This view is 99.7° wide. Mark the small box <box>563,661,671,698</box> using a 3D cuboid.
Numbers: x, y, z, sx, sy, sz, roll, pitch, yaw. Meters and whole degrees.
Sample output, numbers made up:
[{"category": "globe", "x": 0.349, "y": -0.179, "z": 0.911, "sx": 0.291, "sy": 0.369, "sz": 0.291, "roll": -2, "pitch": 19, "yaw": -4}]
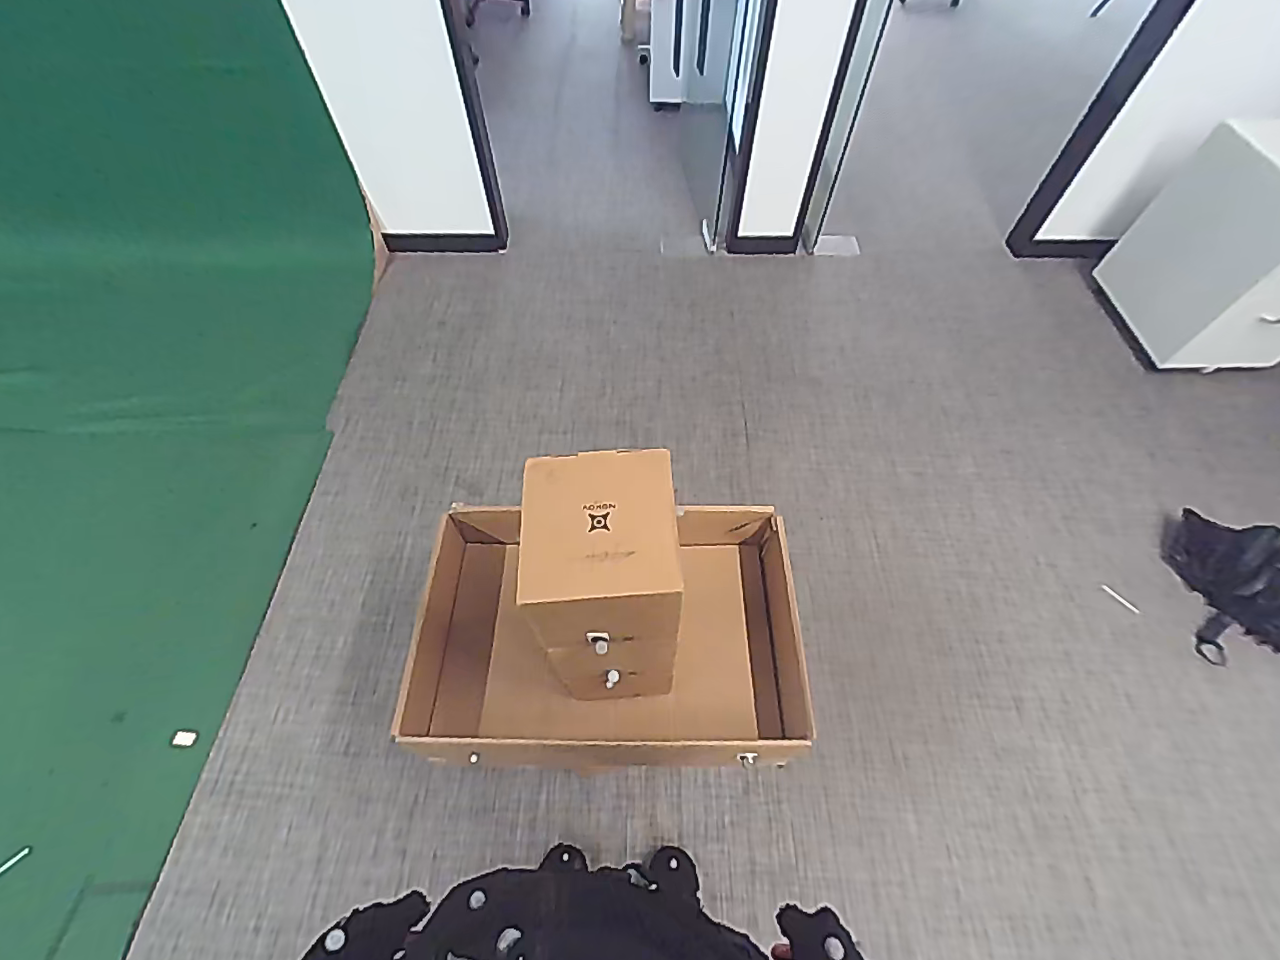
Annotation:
[{"category": "small box", "x": -0.039, "y": 0.257, "z": 0.919, "sx": 0.168, "sy": 0.176, "sz": 0.179, "roll": -5, "pitch": 56, "yaw": -1}]

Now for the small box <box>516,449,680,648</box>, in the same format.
[{"category": "small box", "x": -0.045, "y": 0.085, "z": 0.643, "sx": 0.168, "sy": 0.176, "sz": 0.179, "roll": -5, "pitch": 58, "yaw": -1}]

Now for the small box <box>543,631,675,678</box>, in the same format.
[{"category": "small box", "x": -0.043, "y": 0.172, "z": 0.779, "sx": 0.168, "sy": 0.176, "sz": 0.179, "roll": -4, "pitch": 58, "yaw": -2}]
